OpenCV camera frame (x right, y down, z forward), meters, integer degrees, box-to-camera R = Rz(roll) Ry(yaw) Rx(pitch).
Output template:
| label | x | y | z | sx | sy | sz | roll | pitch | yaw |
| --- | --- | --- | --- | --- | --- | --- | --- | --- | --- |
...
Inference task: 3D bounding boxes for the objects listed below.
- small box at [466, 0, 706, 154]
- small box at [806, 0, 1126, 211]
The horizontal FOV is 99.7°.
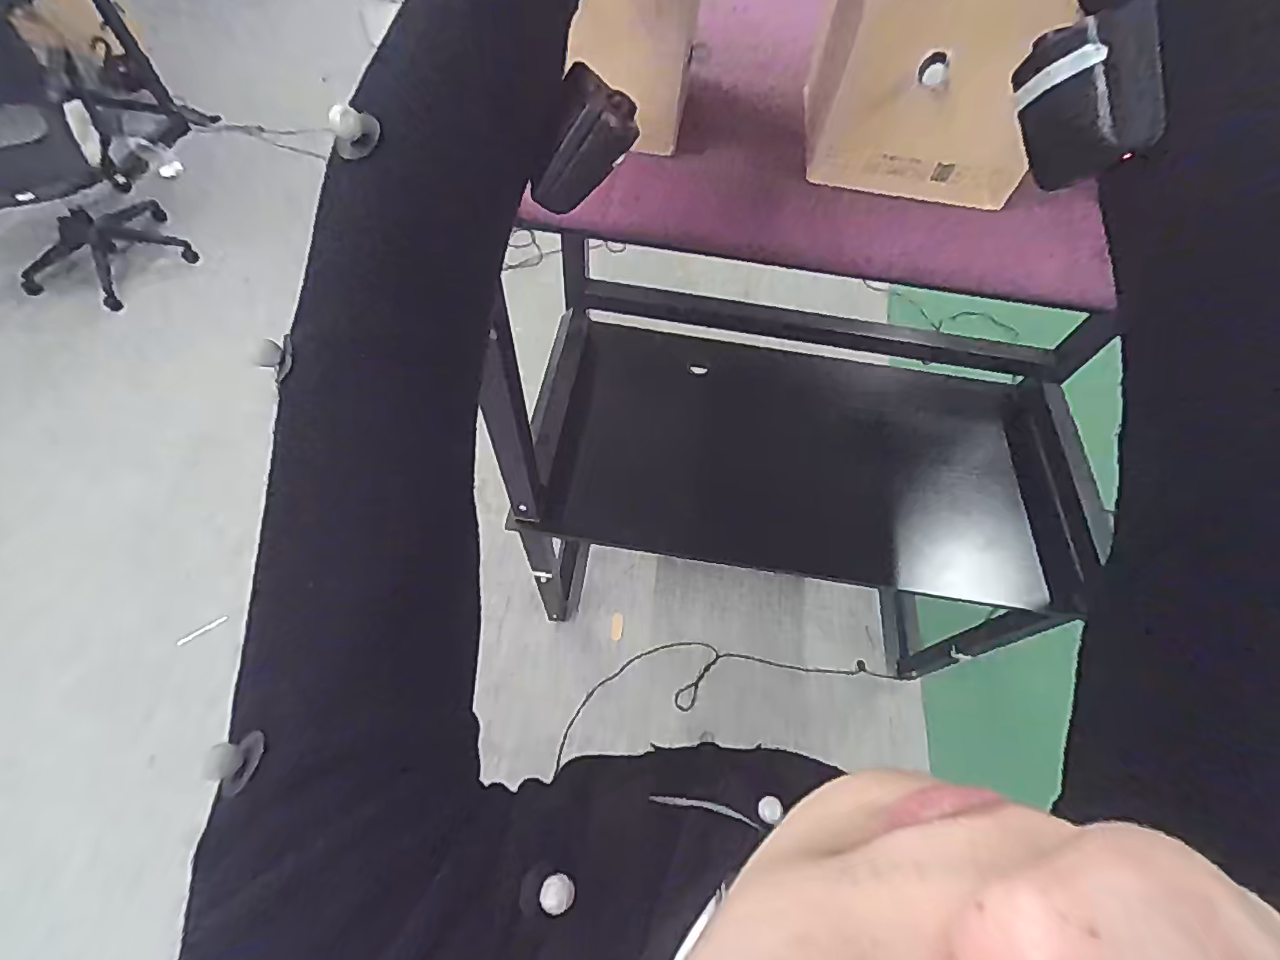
| label | x | y | z | sx | sy | sz | roll | pitch | yaw |
| --- | --- | --- | --- | --- | --- | --- | --- | --- | --- |
| small box | -0.037 | -0.398 | 0.441 | 0.179 | 0.176 | 0.168 | 10 | 59 | 1 |
| small box | 0.239 | -0.345 | 0.433 | 0.168 | 0.176 | 0.179 | 10 | 57 | 3 |
